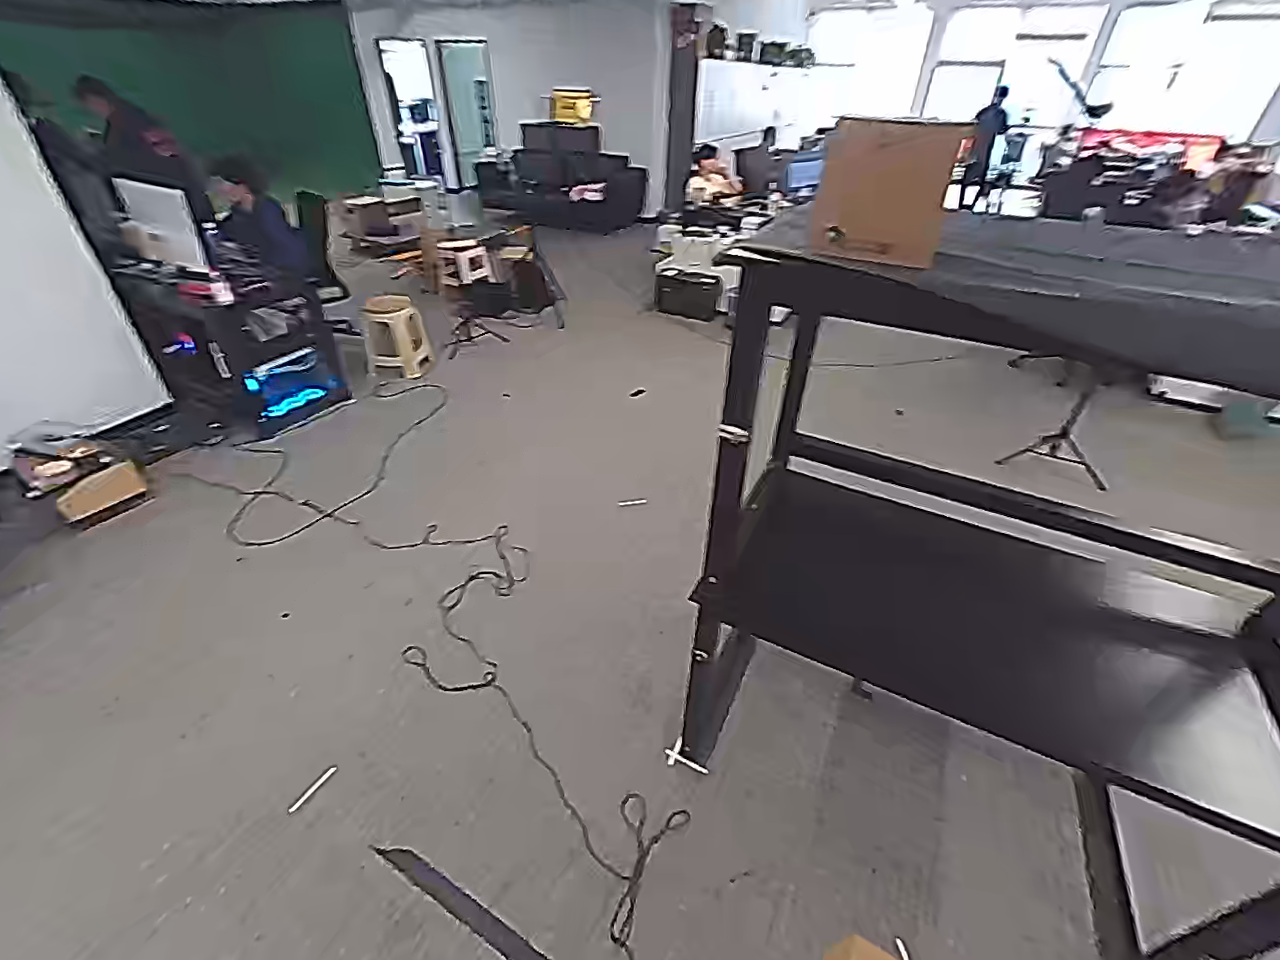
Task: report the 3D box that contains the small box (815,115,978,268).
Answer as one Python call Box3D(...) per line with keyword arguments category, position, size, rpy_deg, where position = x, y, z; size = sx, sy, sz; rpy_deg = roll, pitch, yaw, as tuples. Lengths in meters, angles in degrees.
Box3D(category="small box", position=(0.359, -0.414, 0.771), size=(0.168, 0.176, 0.179), rpy_deg=(18, 39, 20))
